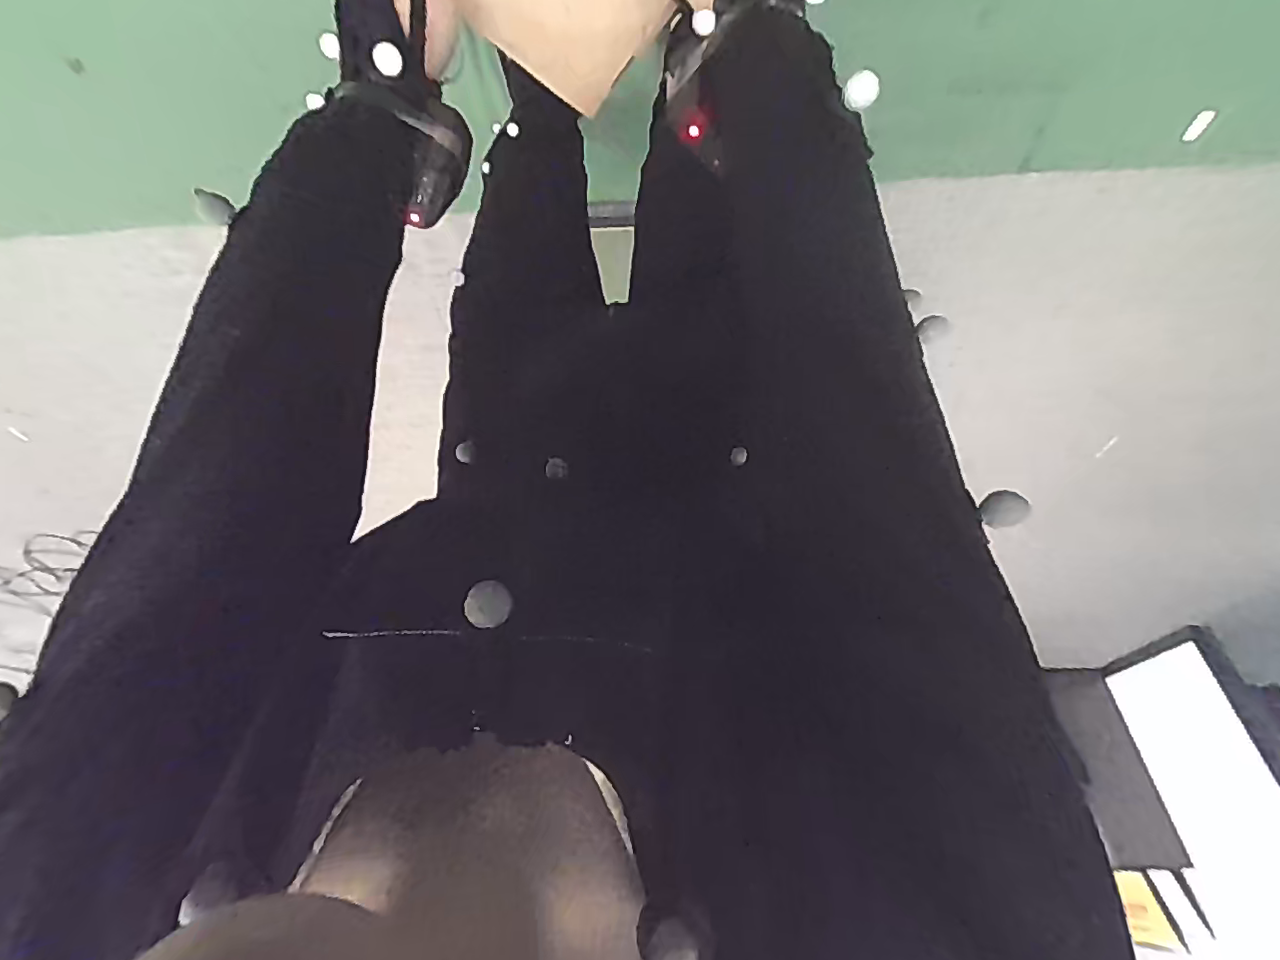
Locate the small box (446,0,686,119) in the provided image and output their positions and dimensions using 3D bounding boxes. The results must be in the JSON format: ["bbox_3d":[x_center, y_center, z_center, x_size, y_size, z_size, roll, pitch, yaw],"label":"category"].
[{"bbox_3d":[-0.051,-0.430,0.395,0.179,0.176,0.168,22,144,-34],"label":"small box"}]
